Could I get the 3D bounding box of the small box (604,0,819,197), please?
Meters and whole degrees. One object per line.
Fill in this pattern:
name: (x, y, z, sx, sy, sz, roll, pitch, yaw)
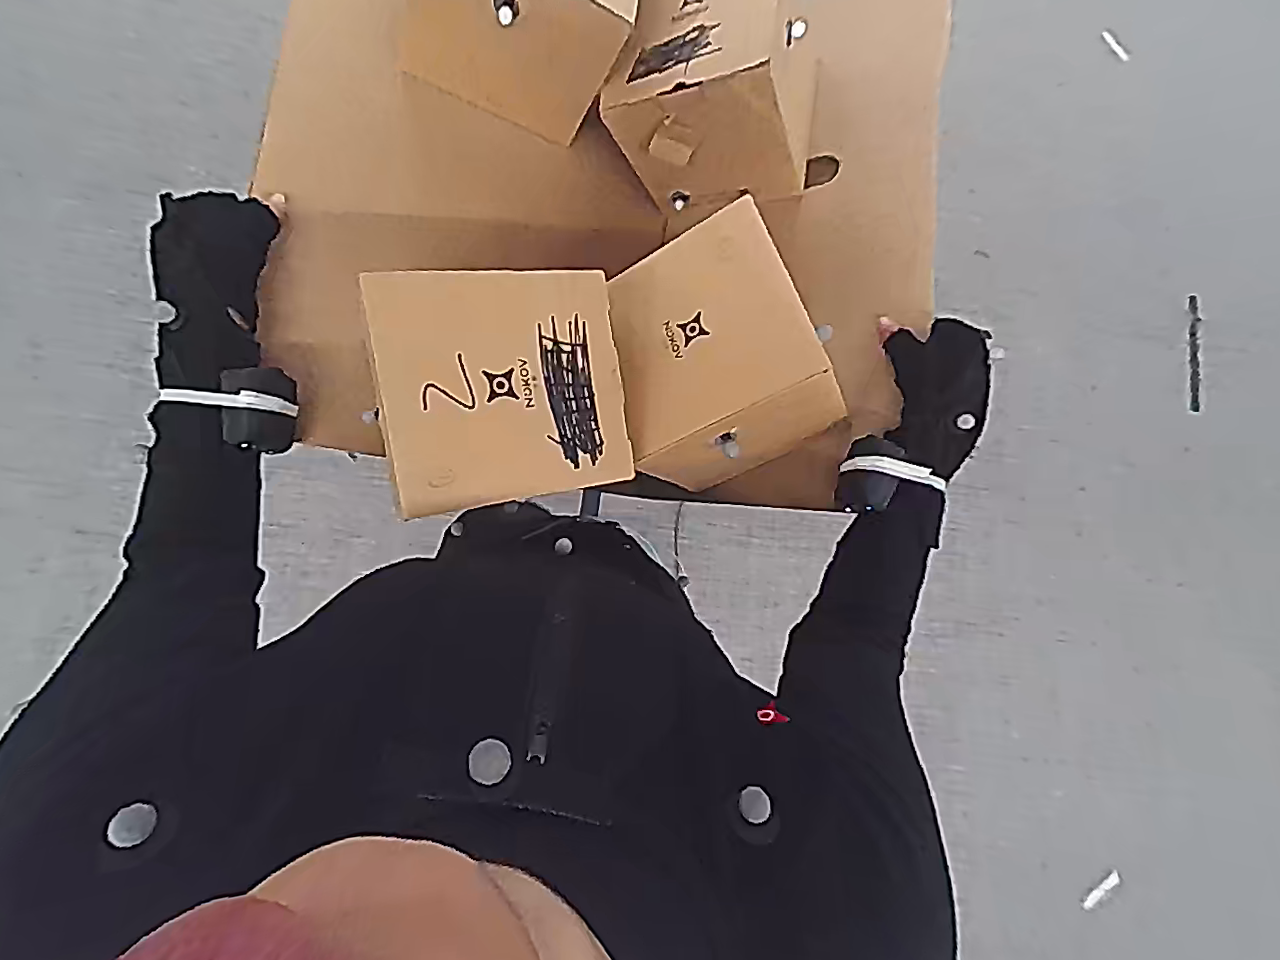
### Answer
small box: (0.084, -0.422, 0.561, 0.168, 0.176, 0.179, 5, 81, 26)
